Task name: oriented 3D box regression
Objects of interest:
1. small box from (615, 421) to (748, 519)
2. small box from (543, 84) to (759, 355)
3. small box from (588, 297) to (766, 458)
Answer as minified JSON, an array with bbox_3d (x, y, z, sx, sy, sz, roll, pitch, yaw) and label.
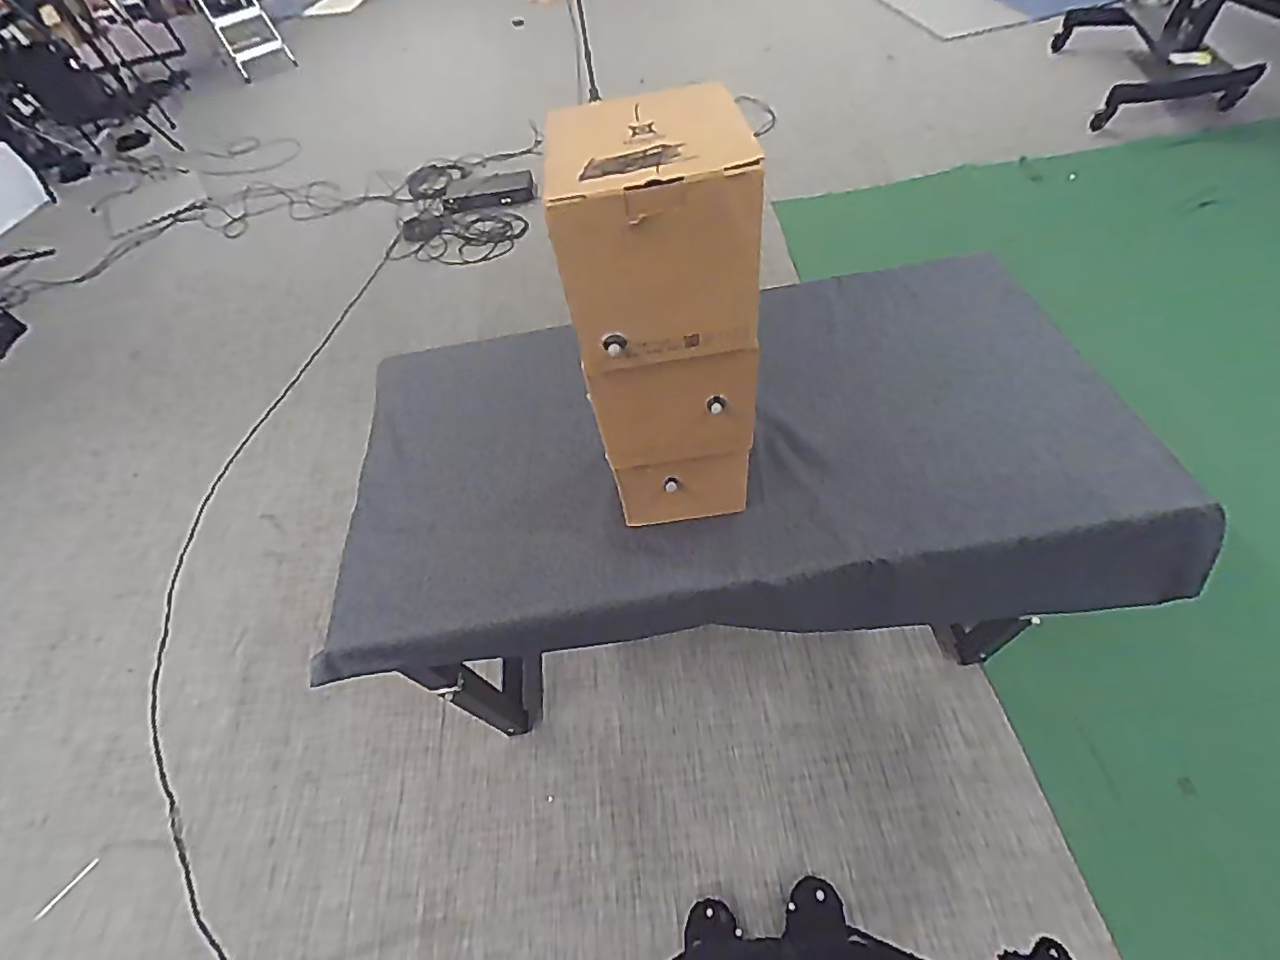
[{"bbox_3d":[0.052,-0.061,0.787,0.179,0.176,0.168,-10,53,0],"label":"small box"},{"bbox_3d":[0.011,-0.232,0.509,0.168,0.176,0.179,-8,53,2],"label":"small box"},{"bbox_3d":[0.033,-0.148,0.629,0.179,0.176,0.168,-11,54,0],"label":"small box"}]
